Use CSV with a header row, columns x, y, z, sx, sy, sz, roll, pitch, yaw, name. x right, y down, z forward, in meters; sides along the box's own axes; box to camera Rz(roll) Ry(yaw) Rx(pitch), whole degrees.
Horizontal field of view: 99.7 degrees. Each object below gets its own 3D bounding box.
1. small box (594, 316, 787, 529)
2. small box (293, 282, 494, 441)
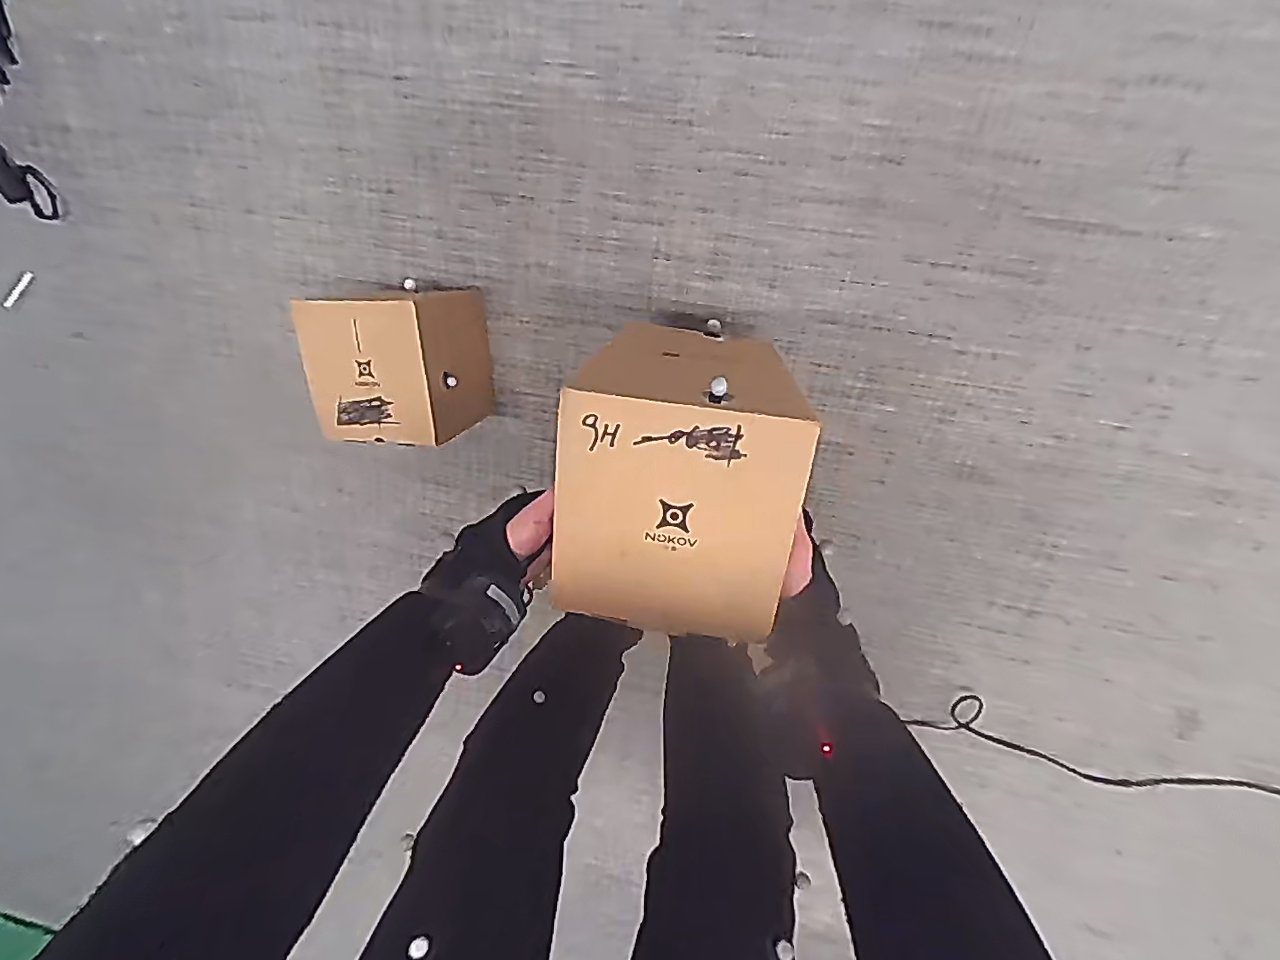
x,y,z,sx,sy,sz,roll,pitch,yaw,name
0.053,-0.072,0.590,0.168,0.176,0.179,9,113,5,small box
-0.308,-0.165,0.719,0.168,0.176,0.179,4,113,11,small box
